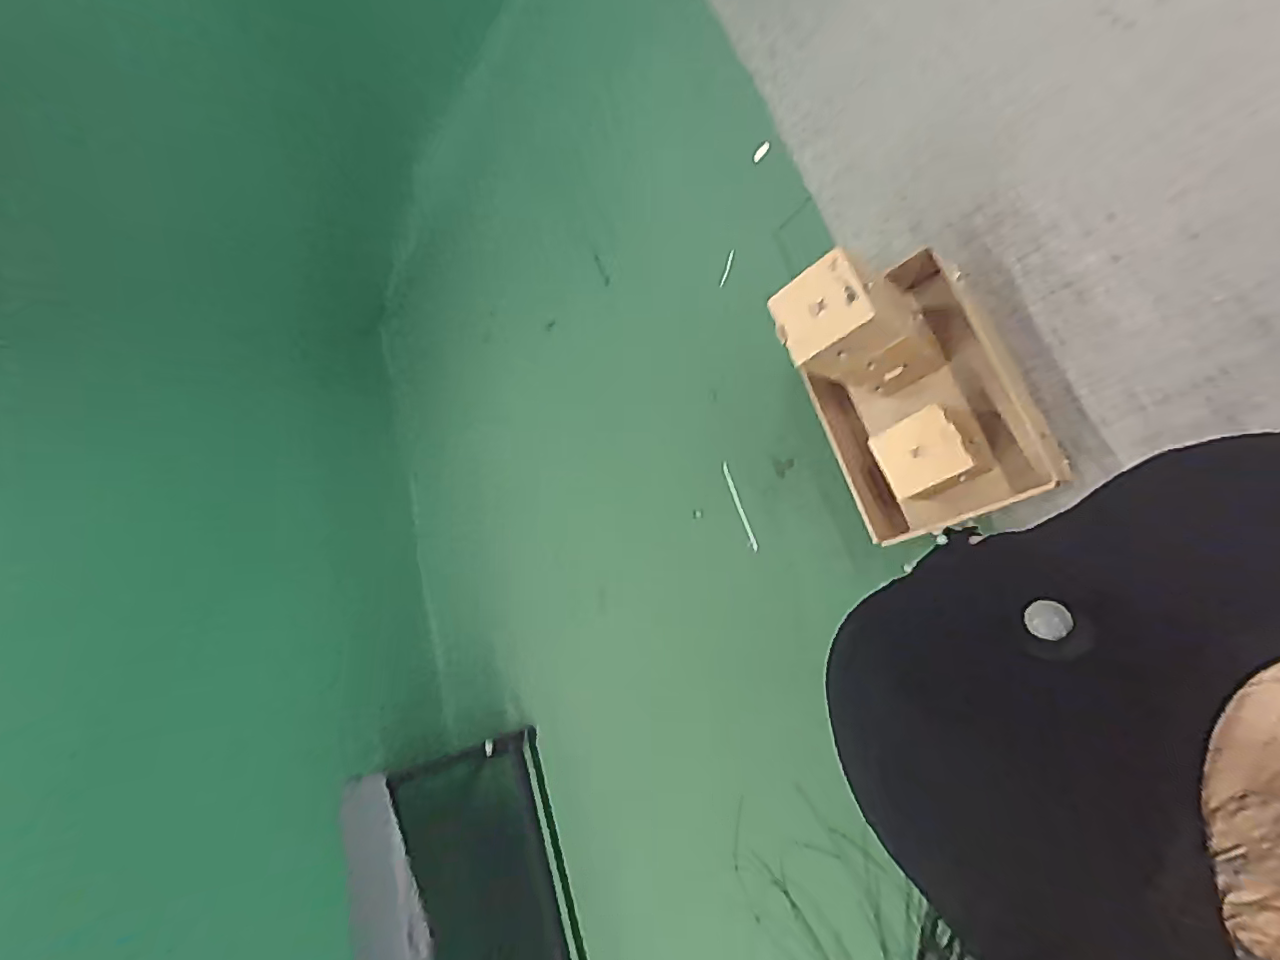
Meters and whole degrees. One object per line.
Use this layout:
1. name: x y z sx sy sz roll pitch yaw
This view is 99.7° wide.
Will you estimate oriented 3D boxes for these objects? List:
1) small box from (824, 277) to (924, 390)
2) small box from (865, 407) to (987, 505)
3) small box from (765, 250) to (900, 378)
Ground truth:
1. small box: 0.510 -0.323 1.235 0.179 0.176 0.168 -29 69 38
2. small box: 0.679 -0.048 1.282 0.179 0.176 0.168 -36 62 36
3. small box: 0.396 -0.329 1.116 0.179 0.176 0.168 -33 66 39
